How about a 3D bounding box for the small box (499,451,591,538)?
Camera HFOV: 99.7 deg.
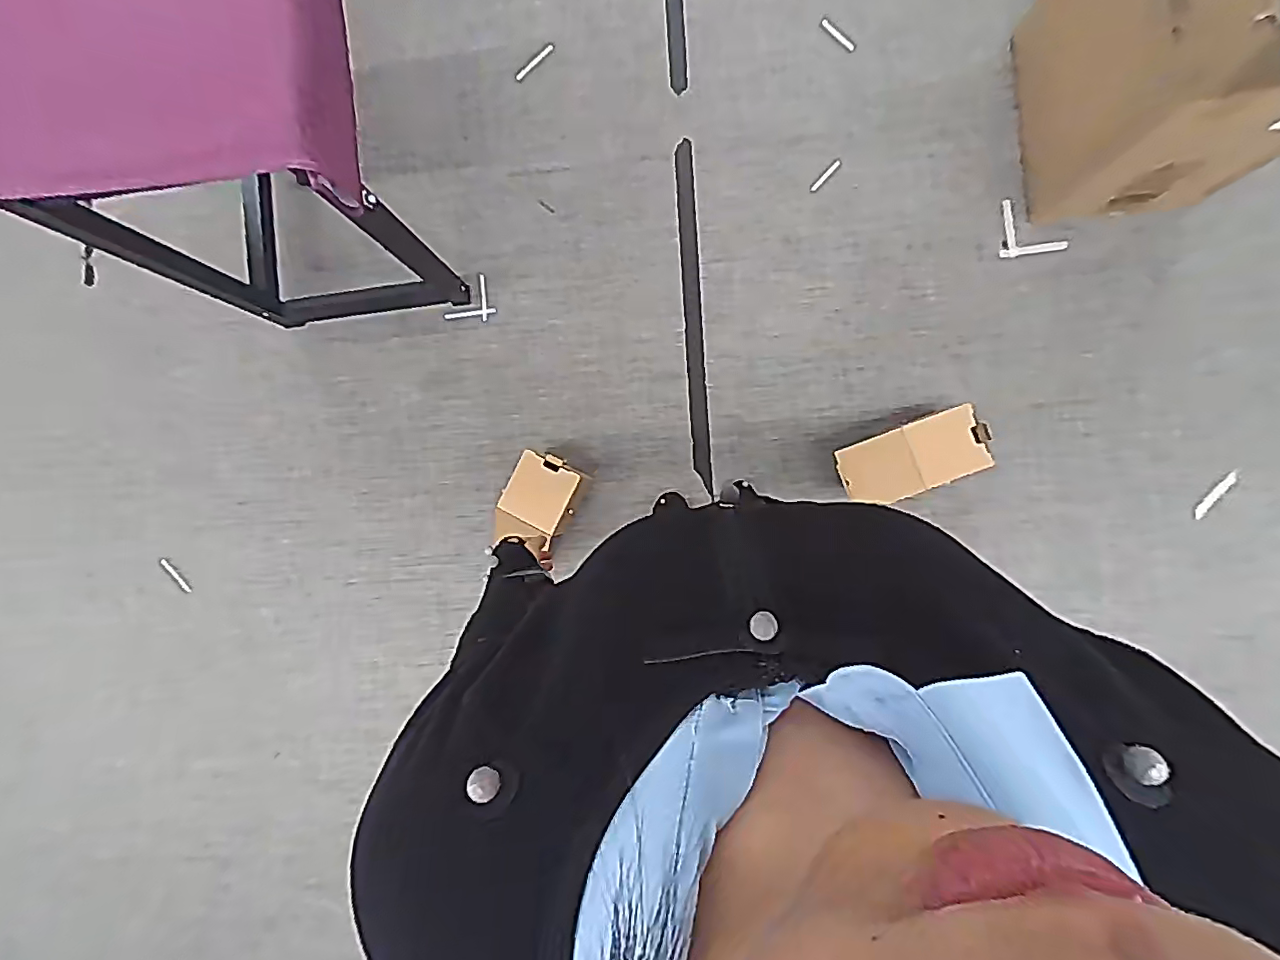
[{"bbox_3d":[-0.247,0.041,1.464,0.168,0.176,0.179,27,90,5],"label":"small box"}]
